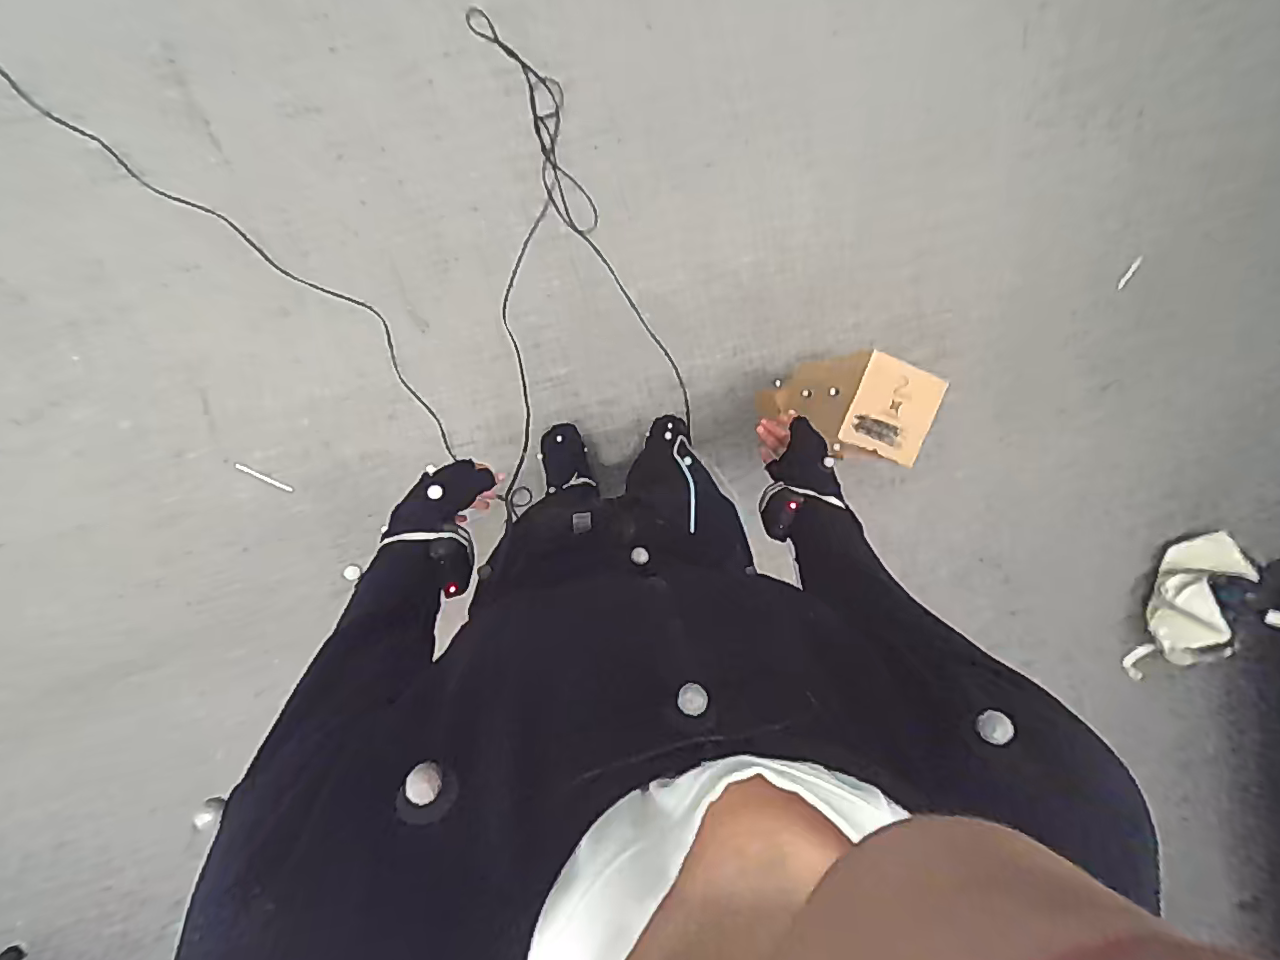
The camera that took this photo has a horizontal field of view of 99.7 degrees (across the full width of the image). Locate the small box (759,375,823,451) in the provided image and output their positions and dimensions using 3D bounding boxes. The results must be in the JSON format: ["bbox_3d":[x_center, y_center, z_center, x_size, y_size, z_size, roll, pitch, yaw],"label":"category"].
[{"bbox_3d":[0.422,-0.185,1.389,0.179,0.176,0.168,-21,102,-3],"label":"small box"}]

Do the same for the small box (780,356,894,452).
[{"bbox_3d":[0.442,-0.177,1.242,0.168,0.176,0.179,13,99,-9],"label":"small box"}]
